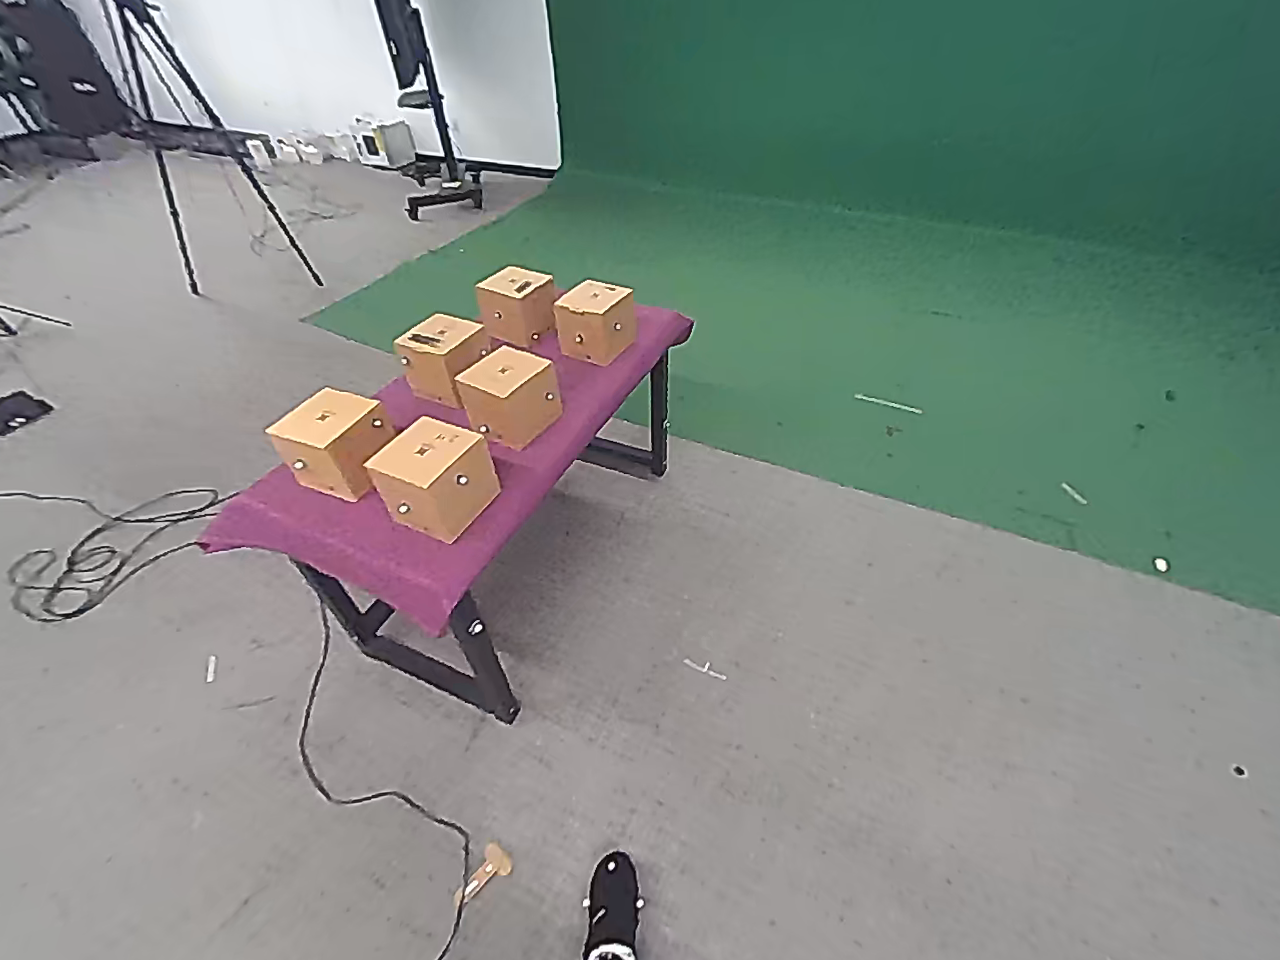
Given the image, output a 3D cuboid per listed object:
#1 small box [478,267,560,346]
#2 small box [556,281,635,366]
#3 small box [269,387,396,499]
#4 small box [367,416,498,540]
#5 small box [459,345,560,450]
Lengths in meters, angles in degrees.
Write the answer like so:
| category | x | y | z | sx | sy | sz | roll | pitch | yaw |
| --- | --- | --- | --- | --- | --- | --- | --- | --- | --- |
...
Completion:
| category | x | y | z | sx | sy | sz | roll | pitch | yaw |
| --- | --- | --- | --- | --- | --- | --- | --- | --- | --- |
| small box | -0.370 | -0.539 | 1.689 | 0.179 | 0.176 | 0.168 | 22 | 49 | 23 |
| small box | -0.123 | -0.463 | 1.604 | 0.168 | 0.176 | 0.179 | 21 | 50 | 23 |
| small box | -0.681 | -0.083 | 1.235 | 0.168 | 0.176 | 0.179 | 15 | 46 | 16 |
| small box | -0.424 | -0.003 | 1.141 | 0.168 | 0.176 | 0.179 | 18 | 47 | 20 |
| small box | -0.316 | -0.206 | 1.350 | 0.168 | 0.176 | 0.179 | 24 | 51 | 25 |
